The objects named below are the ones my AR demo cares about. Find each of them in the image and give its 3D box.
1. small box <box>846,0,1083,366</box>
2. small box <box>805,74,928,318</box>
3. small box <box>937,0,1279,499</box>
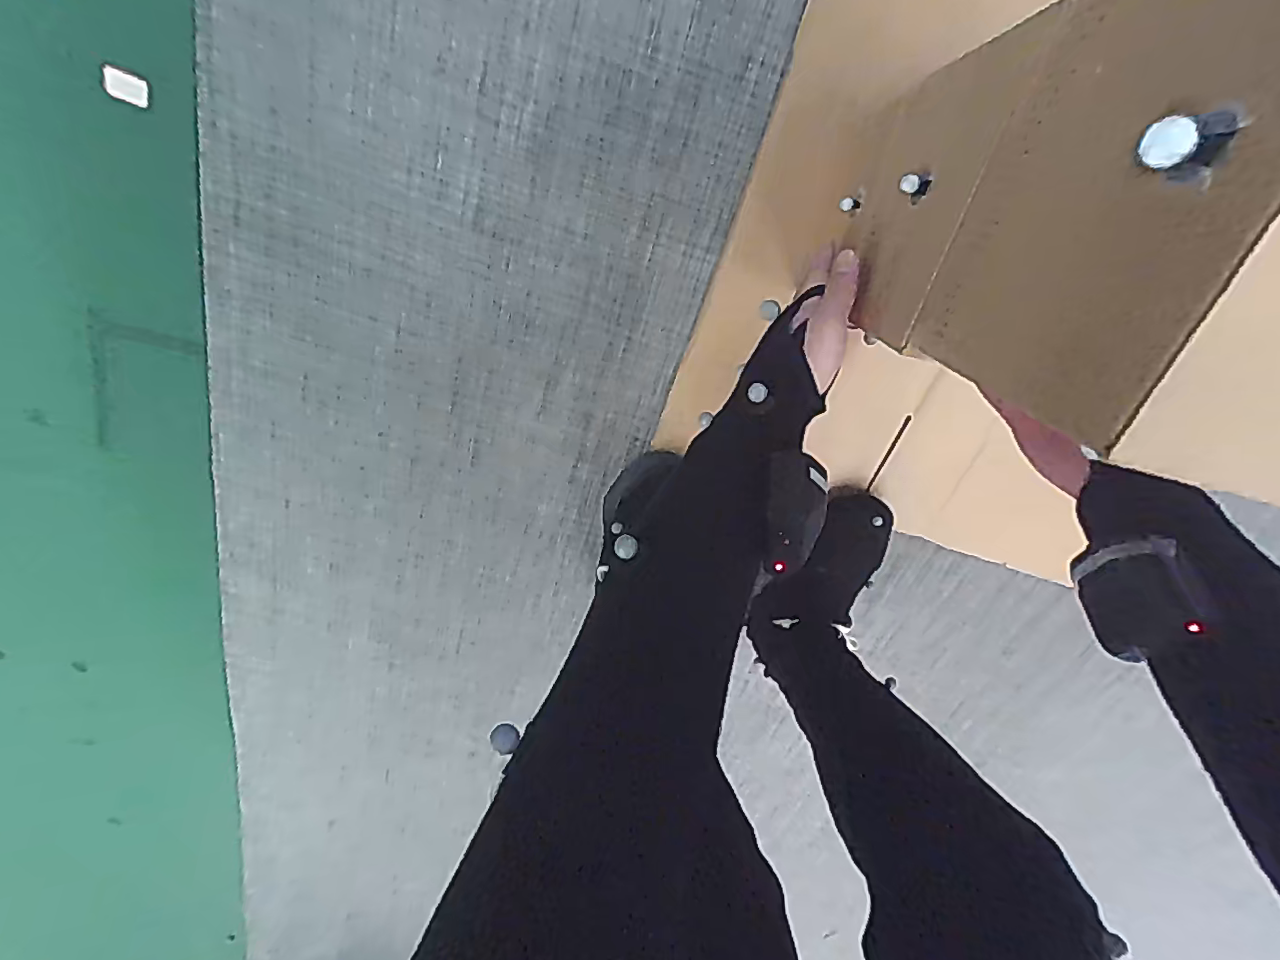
[{"bbox_3d":[0.259,-0.171,0.361,0.168,0.176,0.179,14,116,-3],"label":"small box"},{"bbox_3d":[0.270,-0.242,0.507,0.168,0.176,0.179,11,117,-1],"label":"small box"},{"bbox_3d":[0.254,-0.099,0.215,0.168,0.176,0.179,14,116,-2],"label":"small box"}]
